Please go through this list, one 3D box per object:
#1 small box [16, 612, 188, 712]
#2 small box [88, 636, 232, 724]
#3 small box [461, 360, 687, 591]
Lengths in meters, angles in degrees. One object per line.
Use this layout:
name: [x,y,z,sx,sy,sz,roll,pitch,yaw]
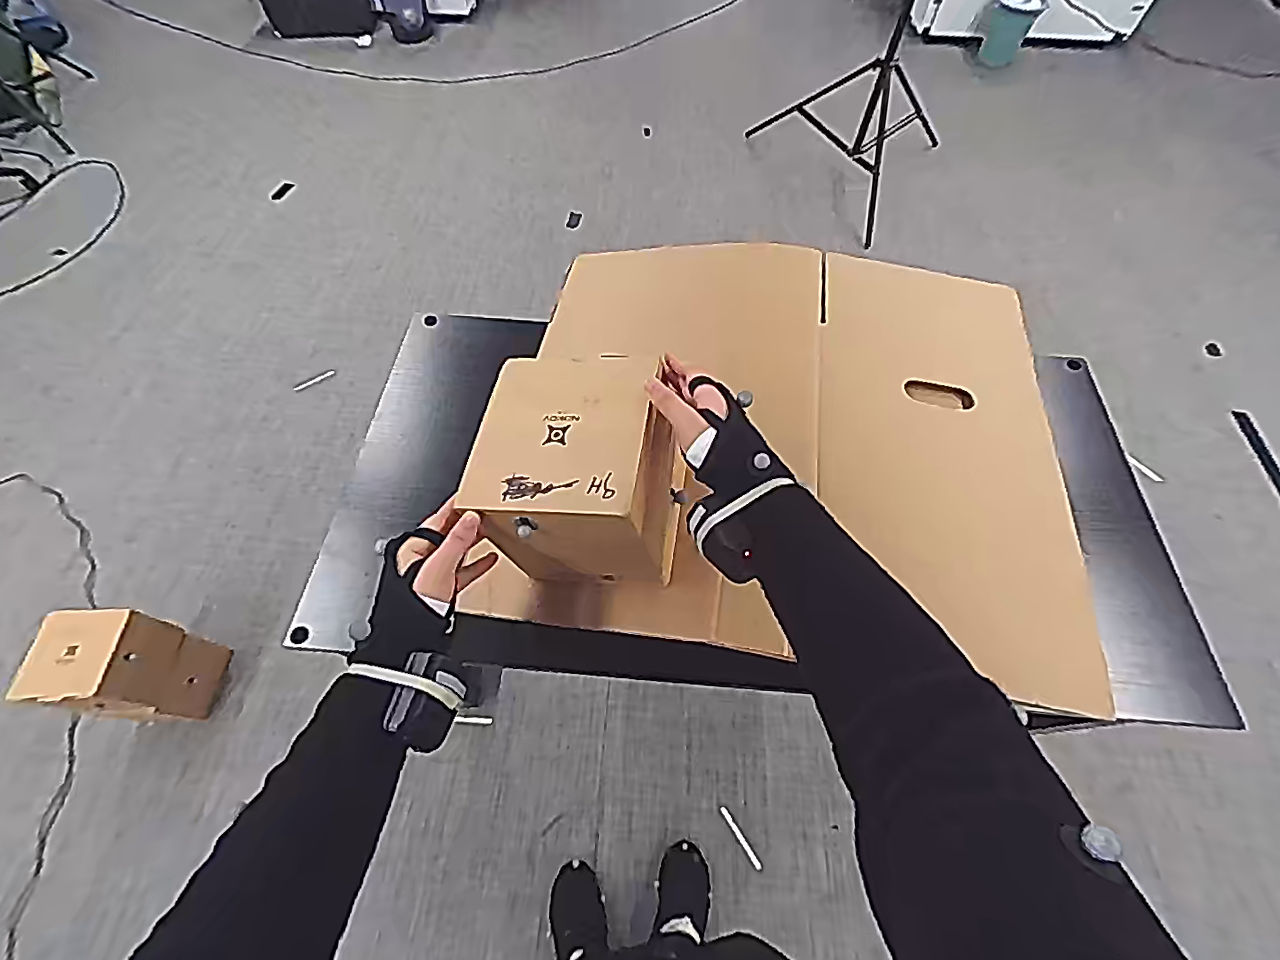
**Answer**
small box: [-1.129,0.394,1.156,0.168,0.176,0.179,-2,59,-2]
small box: [-1.129,0.480,1.294,0.168,0.176,0.179,1,61,0]
small box: [-0.050,-0.002,0.564,0.168,0.176,0.179,1,58,17]
